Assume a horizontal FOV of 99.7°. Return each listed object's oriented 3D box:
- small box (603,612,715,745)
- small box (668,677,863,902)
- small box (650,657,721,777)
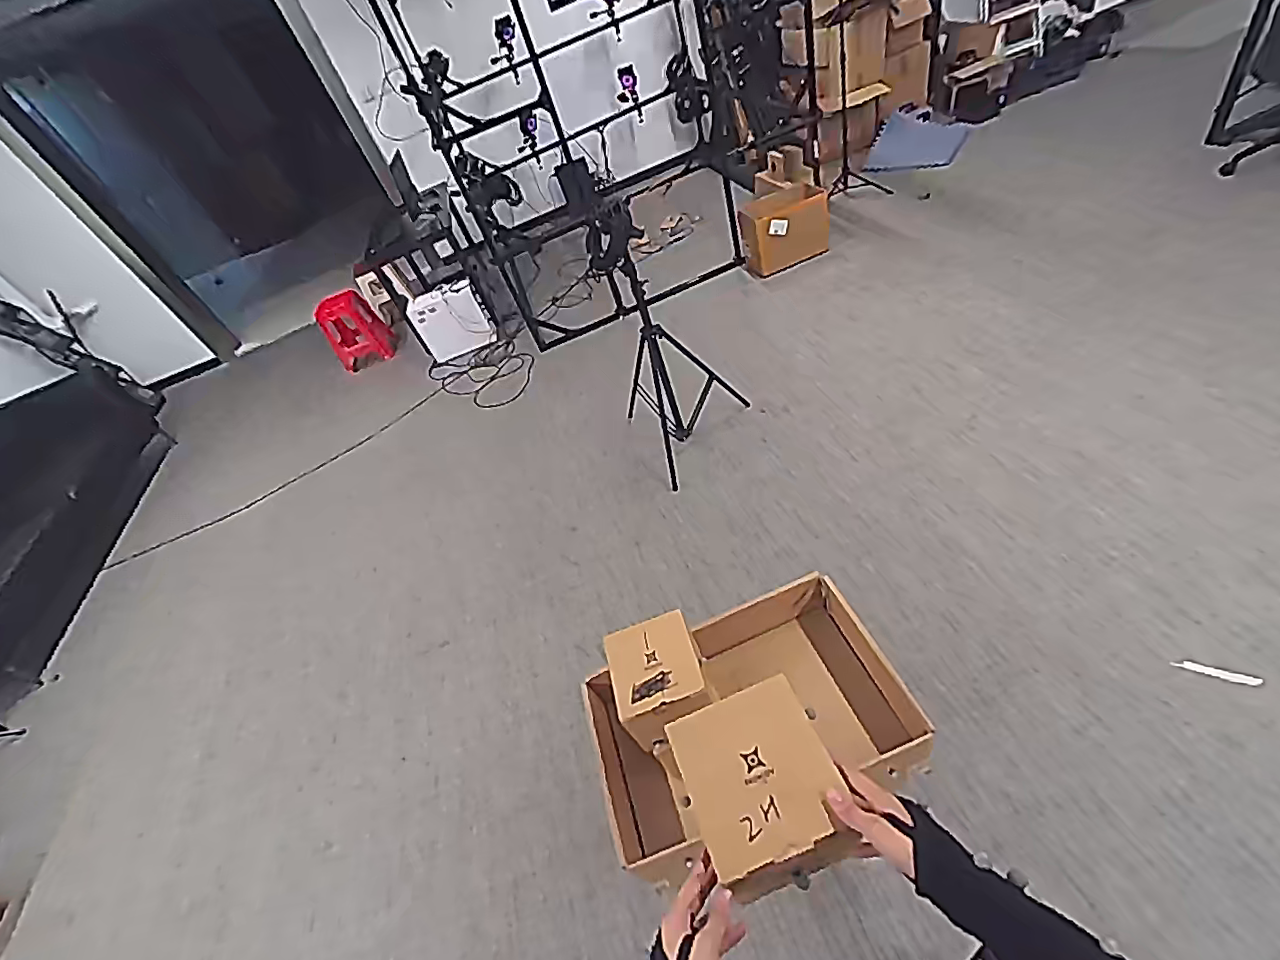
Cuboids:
[{"bbox_3d":[0.043,0.397,1.063,0.168,0.176,0.179,-21,43,2],"label":"small box"},{"bbox_3d":[0.151,0.386,0.674,0.168,0.176,0.179,-23,45,-3],"label":"small box"},{"bbox_3d":[0.095,0.507,1.176,0.168,0.176,0.179,-26,43,-2],"label":"small box"}]
